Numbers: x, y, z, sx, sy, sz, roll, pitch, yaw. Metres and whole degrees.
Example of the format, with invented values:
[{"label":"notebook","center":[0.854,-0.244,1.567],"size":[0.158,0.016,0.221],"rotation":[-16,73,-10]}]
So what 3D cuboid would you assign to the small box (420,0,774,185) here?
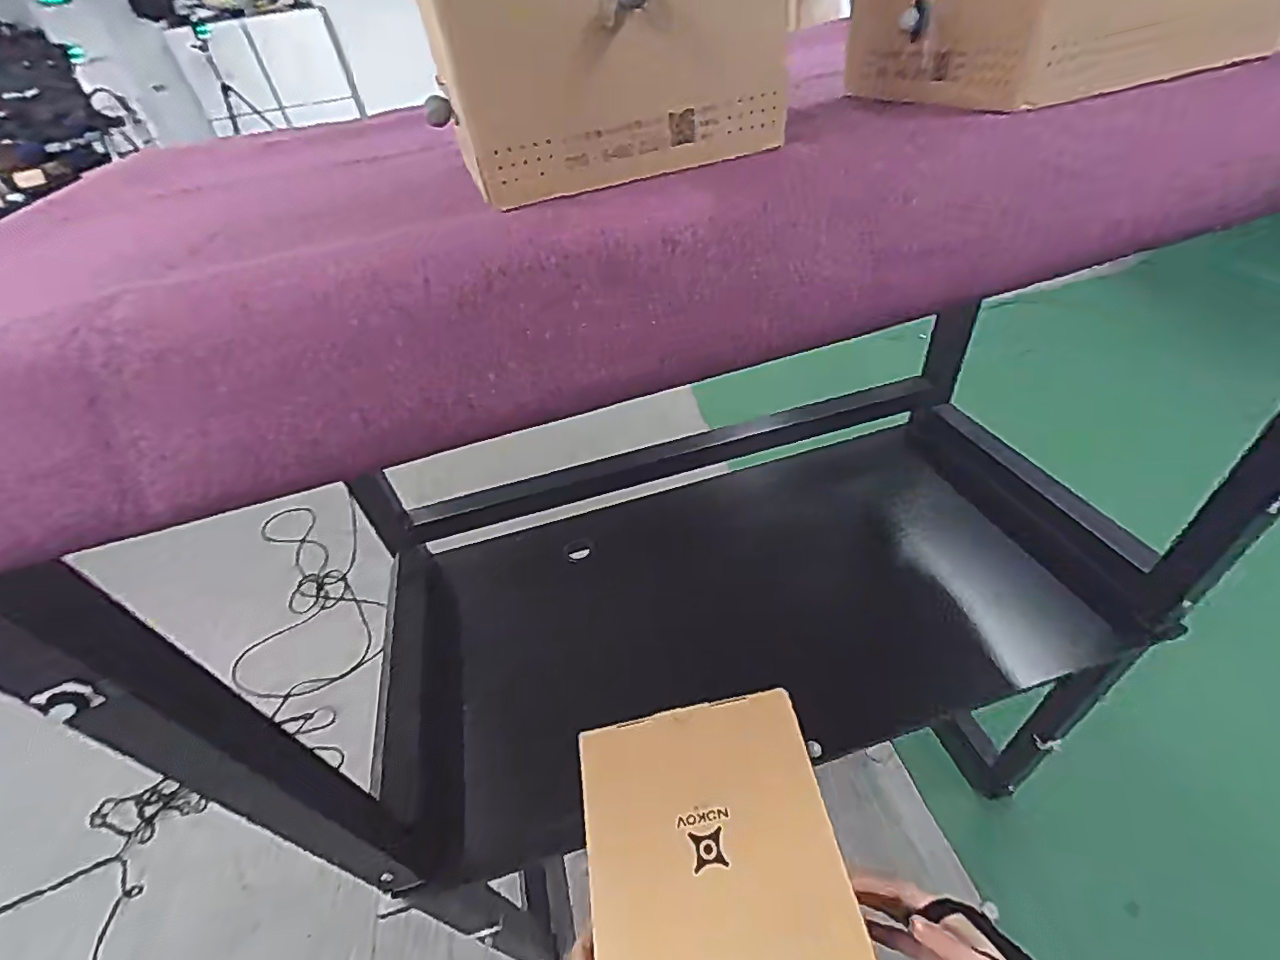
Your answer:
[{"label":"small box","center":[-0.035,-0.275,0.292],"size":[0.168,0.176,0.179],"rotation":[-17,42,-9]}]
